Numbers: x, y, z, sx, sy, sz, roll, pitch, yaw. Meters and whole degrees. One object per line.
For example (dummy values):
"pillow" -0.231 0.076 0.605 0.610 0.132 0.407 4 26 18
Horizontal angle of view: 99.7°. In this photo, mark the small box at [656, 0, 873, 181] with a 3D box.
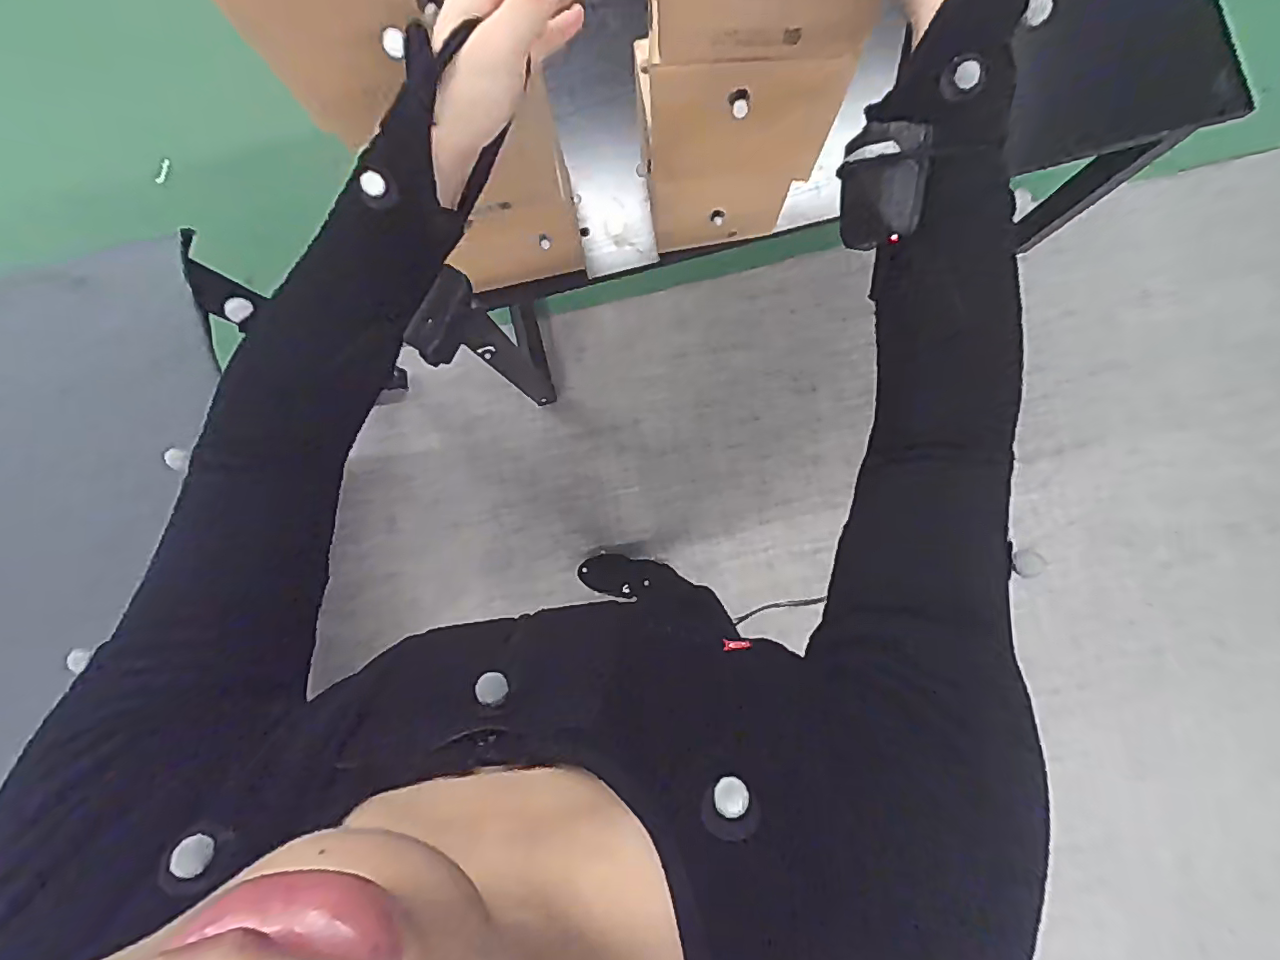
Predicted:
"small box" 0.104 -0.416 0.521 0.179 0.176 0.168 -1 87 3

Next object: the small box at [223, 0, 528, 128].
"small box" -0.183 -0.384 0.369 0.179 0.176 0.168 -9 85 2

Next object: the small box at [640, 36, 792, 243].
"small box" 0.096 -0.423 0.685 0.168 0.176 0.179 -9 86 2

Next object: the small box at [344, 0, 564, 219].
"small box" -0.177 -0.383 0.531 0.168 0.176 0.179 -10 85 1

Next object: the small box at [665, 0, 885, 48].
"small box" 0.101 -0.431 0.358 0.168 0.176 0.179 3 87 4
